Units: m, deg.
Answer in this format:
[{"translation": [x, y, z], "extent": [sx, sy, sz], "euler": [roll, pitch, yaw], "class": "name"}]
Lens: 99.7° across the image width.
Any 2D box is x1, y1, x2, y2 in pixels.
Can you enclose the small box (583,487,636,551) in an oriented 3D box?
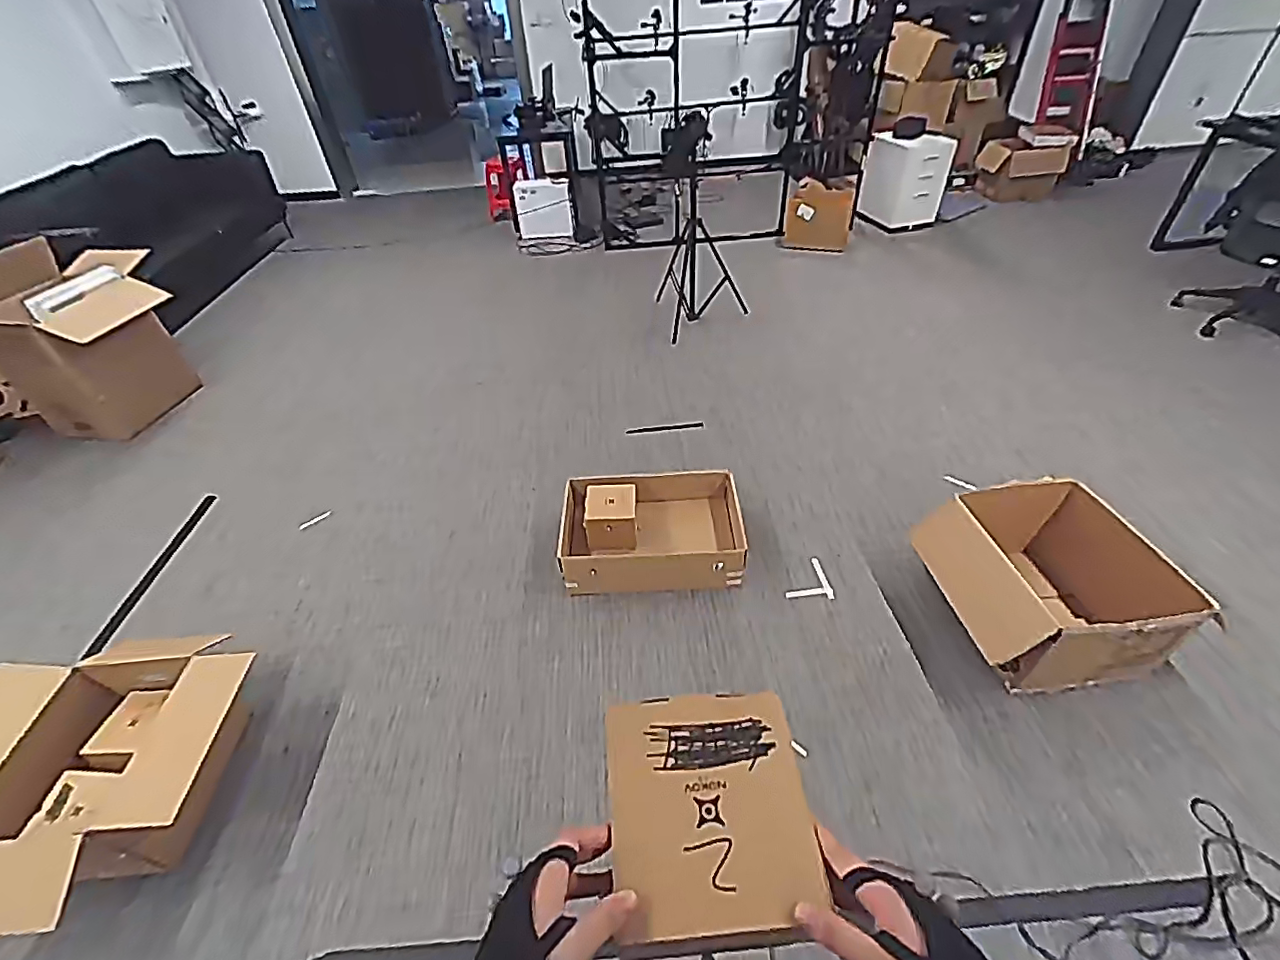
[{"translation": [-0.105, 0.144, 1.946], "extent": [0.179, 0.176, 0.168], "euler": [-2, 44, 0], "class": "small box"}]
